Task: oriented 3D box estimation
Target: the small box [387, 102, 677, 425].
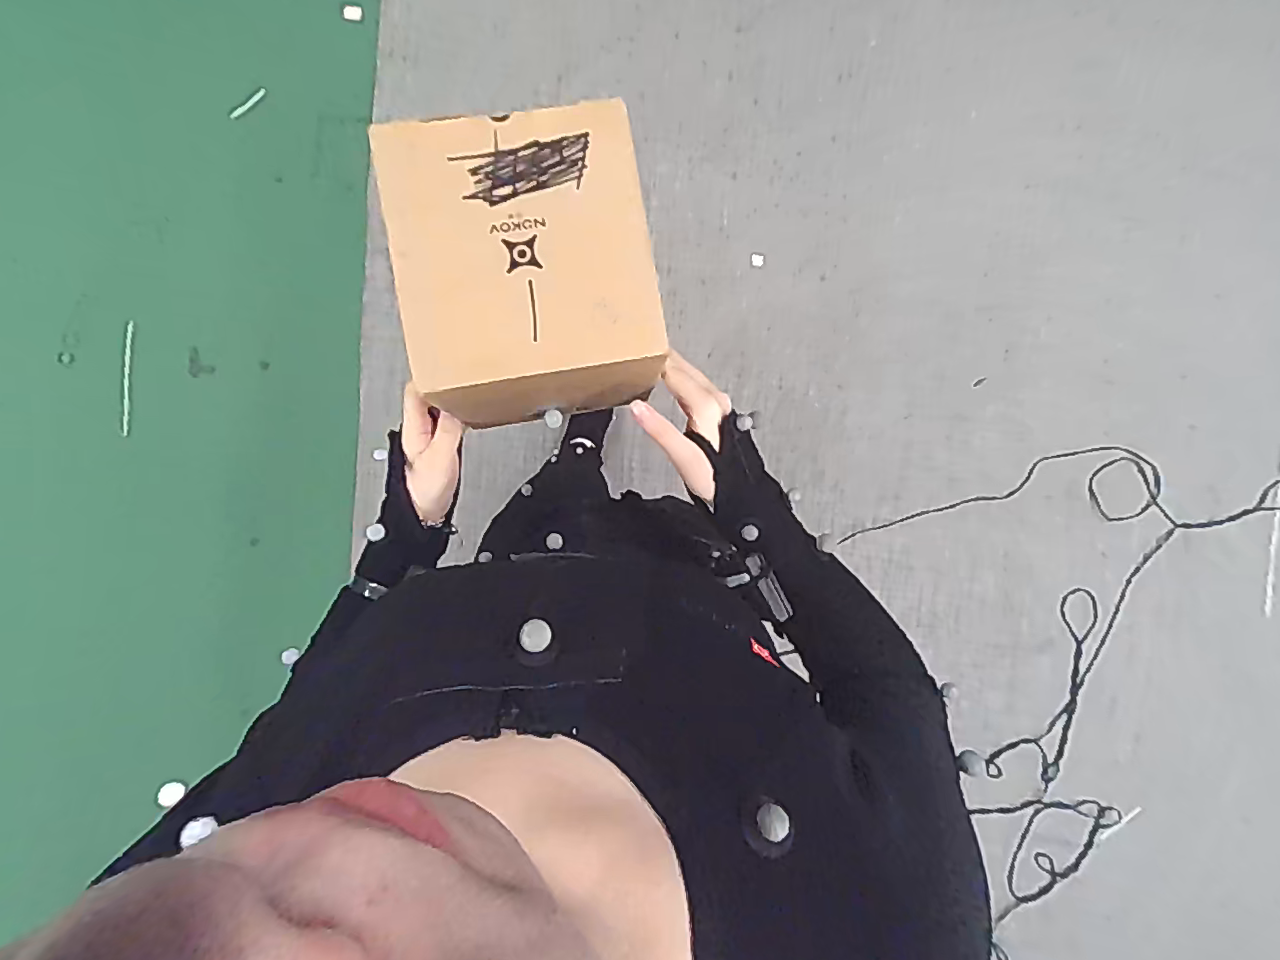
[{"bbox_3d":[-0.076,-0.150,0.428,0.168,0.176,0.179,-10,89,-5],"label":"small box"}]
